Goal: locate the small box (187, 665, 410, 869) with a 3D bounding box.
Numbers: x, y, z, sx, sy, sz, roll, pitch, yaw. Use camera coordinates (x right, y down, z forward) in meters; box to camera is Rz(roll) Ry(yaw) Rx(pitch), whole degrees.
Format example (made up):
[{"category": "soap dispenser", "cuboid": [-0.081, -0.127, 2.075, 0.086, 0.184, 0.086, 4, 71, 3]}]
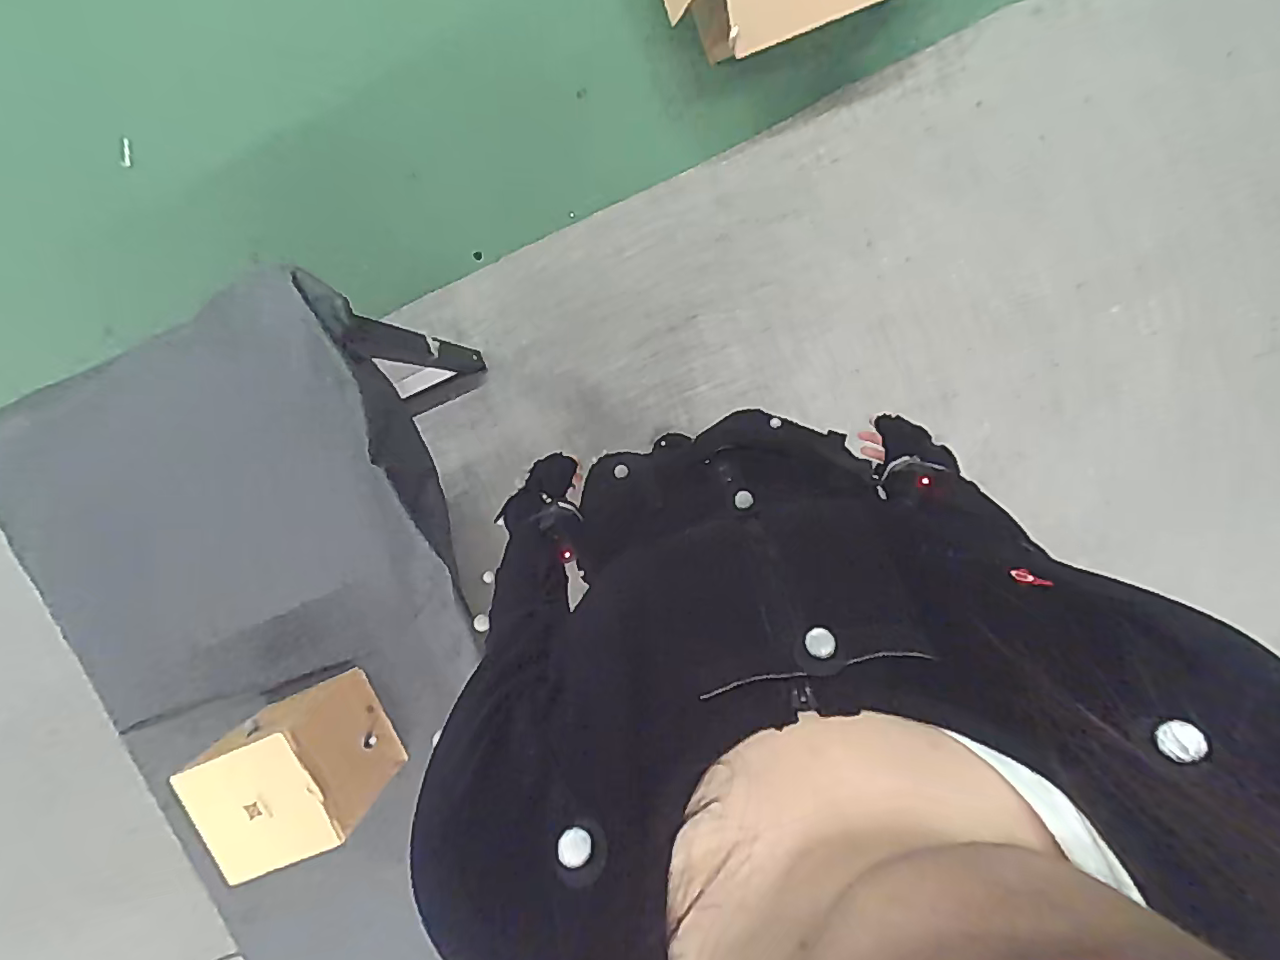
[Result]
[{"category": "small box", "cuboid": [-0.473, 0.397, 0.775, 0.179, 0.176, 0.168, -24, 95, 6]}]
